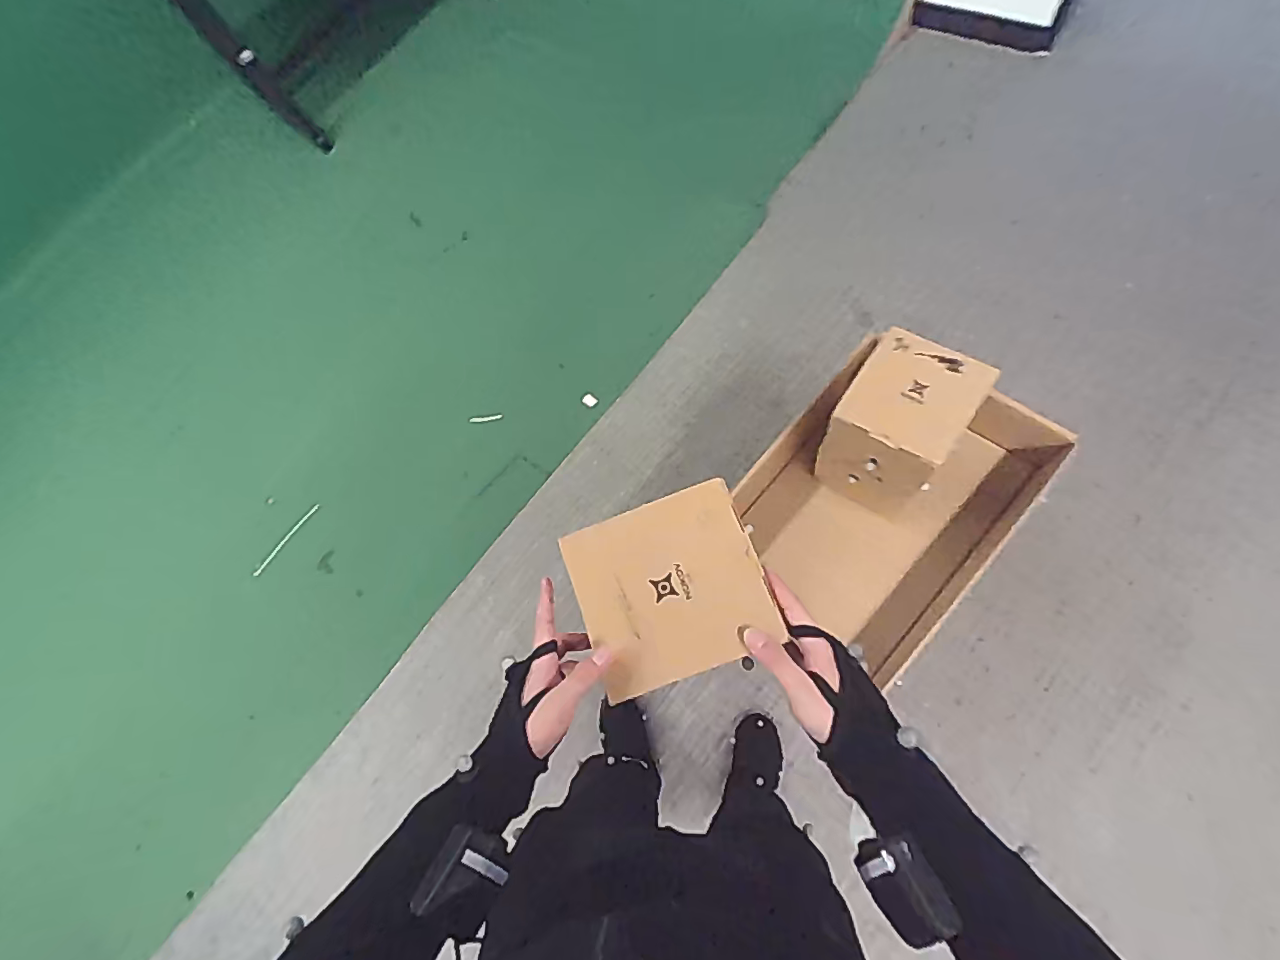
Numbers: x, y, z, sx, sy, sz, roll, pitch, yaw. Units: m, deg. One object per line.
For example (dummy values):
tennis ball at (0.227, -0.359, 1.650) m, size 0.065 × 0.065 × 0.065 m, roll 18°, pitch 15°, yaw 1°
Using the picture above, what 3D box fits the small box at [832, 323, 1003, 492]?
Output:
small box at (0.418, -0.104, 0.848) m, size 0.168 × 0.176 × 0.179 m, roll 33°, pitch 84°, yaw 22°

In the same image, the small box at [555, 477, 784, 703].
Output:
small box at (0.034, 0.119, 0.576) m, size 0.179 × 0.176 × 0.168 m, roll -21°, pitch 71°, yaw 4°
